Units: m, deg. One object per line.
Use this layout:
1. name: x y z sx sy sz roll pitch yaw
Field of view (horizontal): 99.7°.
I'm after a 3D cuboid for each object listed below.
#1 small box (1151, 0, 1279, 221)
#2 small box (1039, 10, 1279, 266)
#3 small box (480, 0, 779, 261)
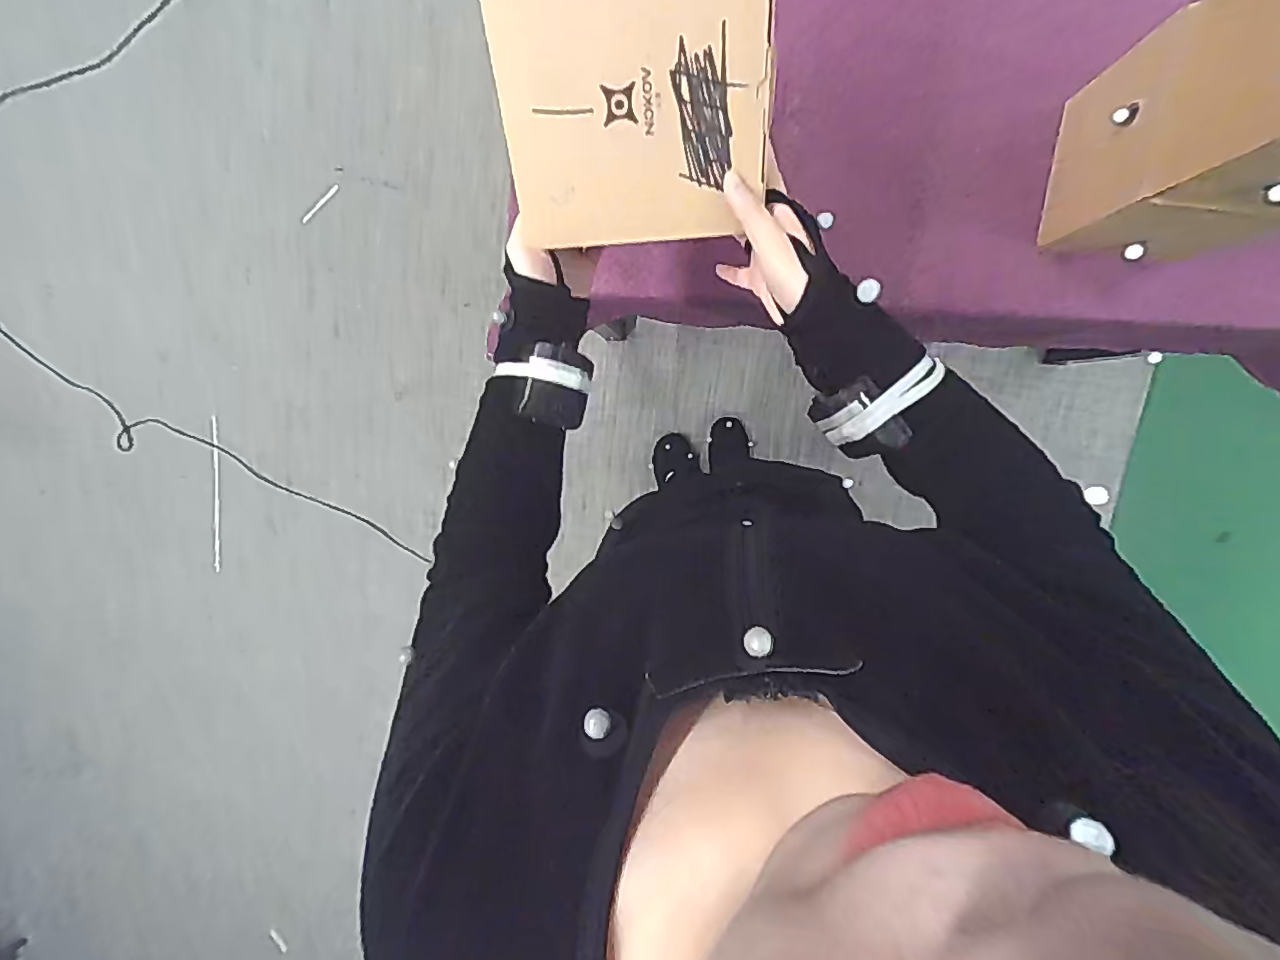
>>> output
1. small box: 0.566 -0.327 0.423 0.168 0.176 0.179 7 99 4
2. small box: 0.578 -0.349 0.584 0.168 0.176 0.179 7 99 5
3. small box: 0.001 -0.278 0.413 0.179 0.176 0.168 -2 125 5
